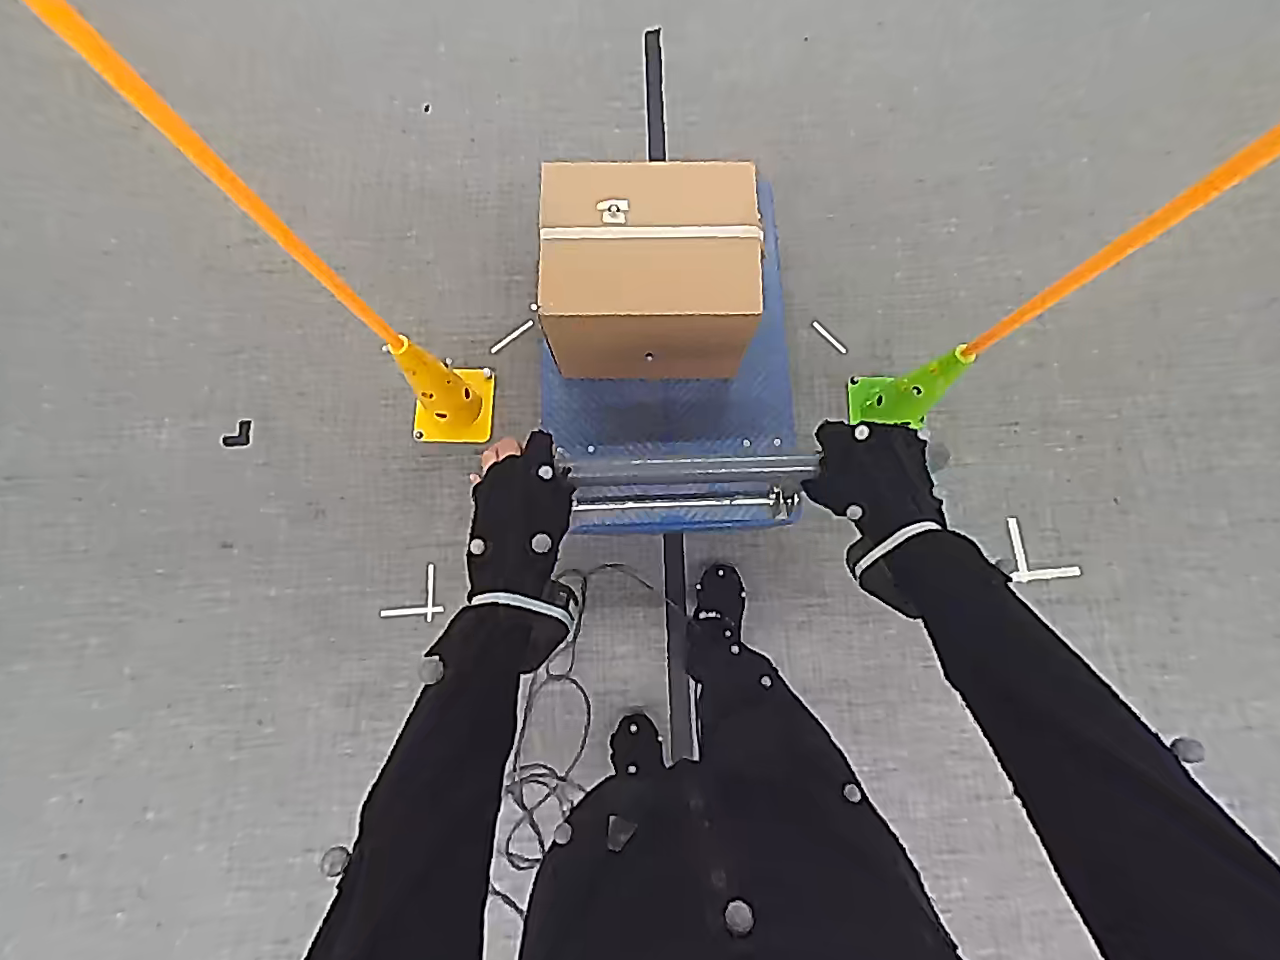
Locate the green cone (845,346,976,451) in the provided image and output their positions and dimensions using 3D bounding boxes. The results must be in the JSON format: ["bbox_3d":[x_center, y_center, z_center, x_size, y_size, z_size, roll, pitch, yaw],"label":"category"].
[{"bbox_3d":[0.645,-0.210,1.254,0.202,0.368,0.200,2,78,-1],"label":"green cone"}]

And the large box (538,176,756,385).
[{"bbox_3d":[0.014,-0.400,1.153,0.408,0.320,0.320,-1,79,1],"label":"large box"}]
